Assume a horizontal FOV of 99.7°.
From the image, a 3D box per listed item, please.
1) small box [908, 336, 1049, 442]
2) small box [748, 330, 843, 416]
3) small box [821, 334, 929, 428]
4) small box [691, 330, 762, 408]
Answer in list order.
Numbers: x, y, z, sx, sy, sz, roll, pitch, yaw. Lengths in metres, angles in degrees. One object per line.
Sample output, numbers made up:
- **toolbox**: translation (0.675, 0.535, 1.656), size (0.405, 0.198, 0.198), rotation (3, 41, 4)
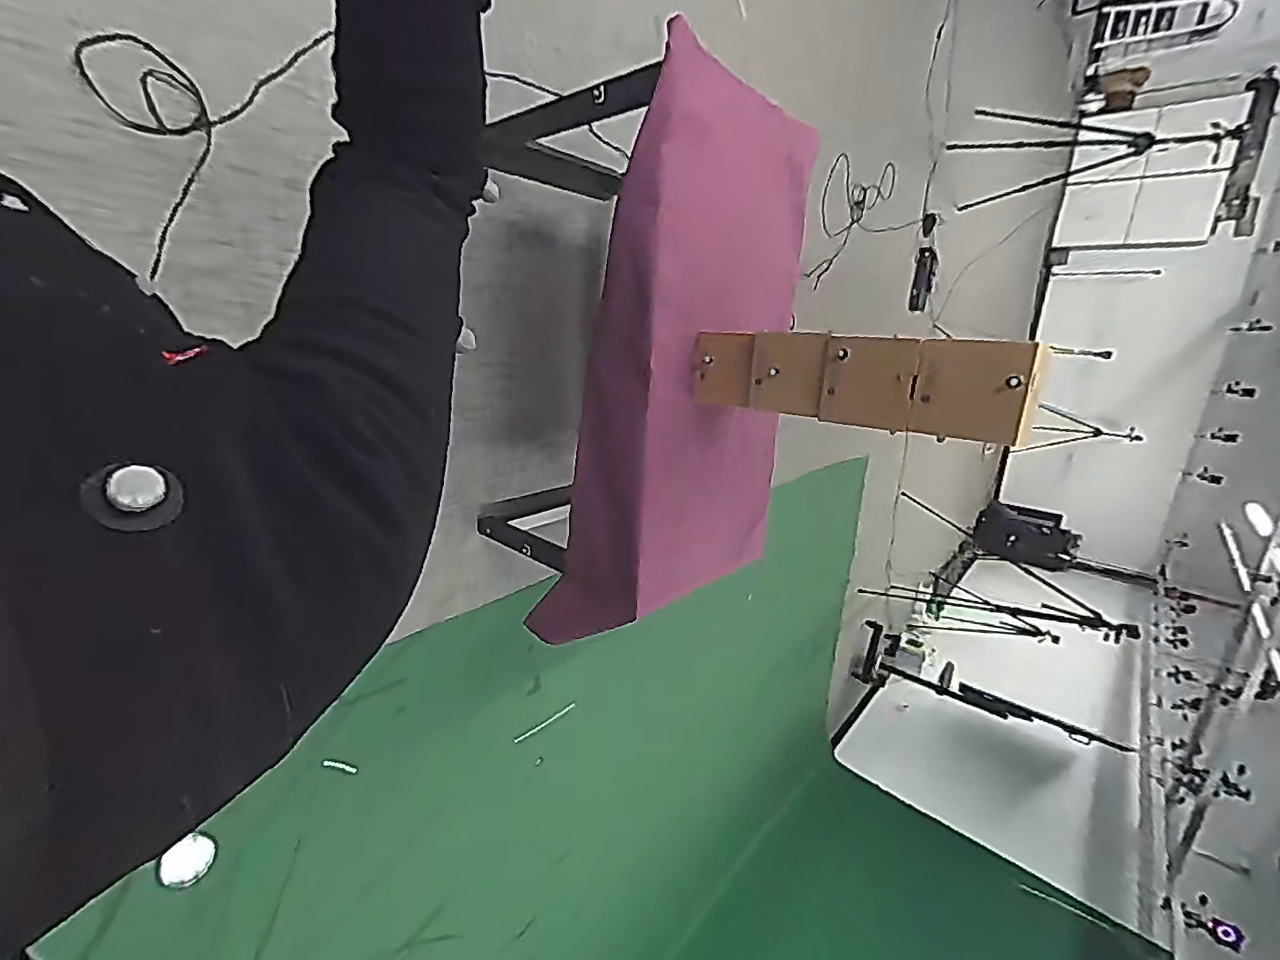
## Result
- **small box**: translation (0.597, -0.162, 0.956), size (0.179, 0.176, 0.168), rotation (-8, 107, -49)
- **small box**: translation (0.357, -0.232, 1.168), size (0.179, 0.176, 0.168), rotation (-10, 109, -47)
- **small box**: translation (0.472, -0.194, 1.057), size (0.179, 0.176, 0.168), rotation (-10, 109, -48)
- **small box**: translation (0.246, -0.263, 1.286), size (0.179, 0.176, 0.168), rotation (-8, 107, -47)
